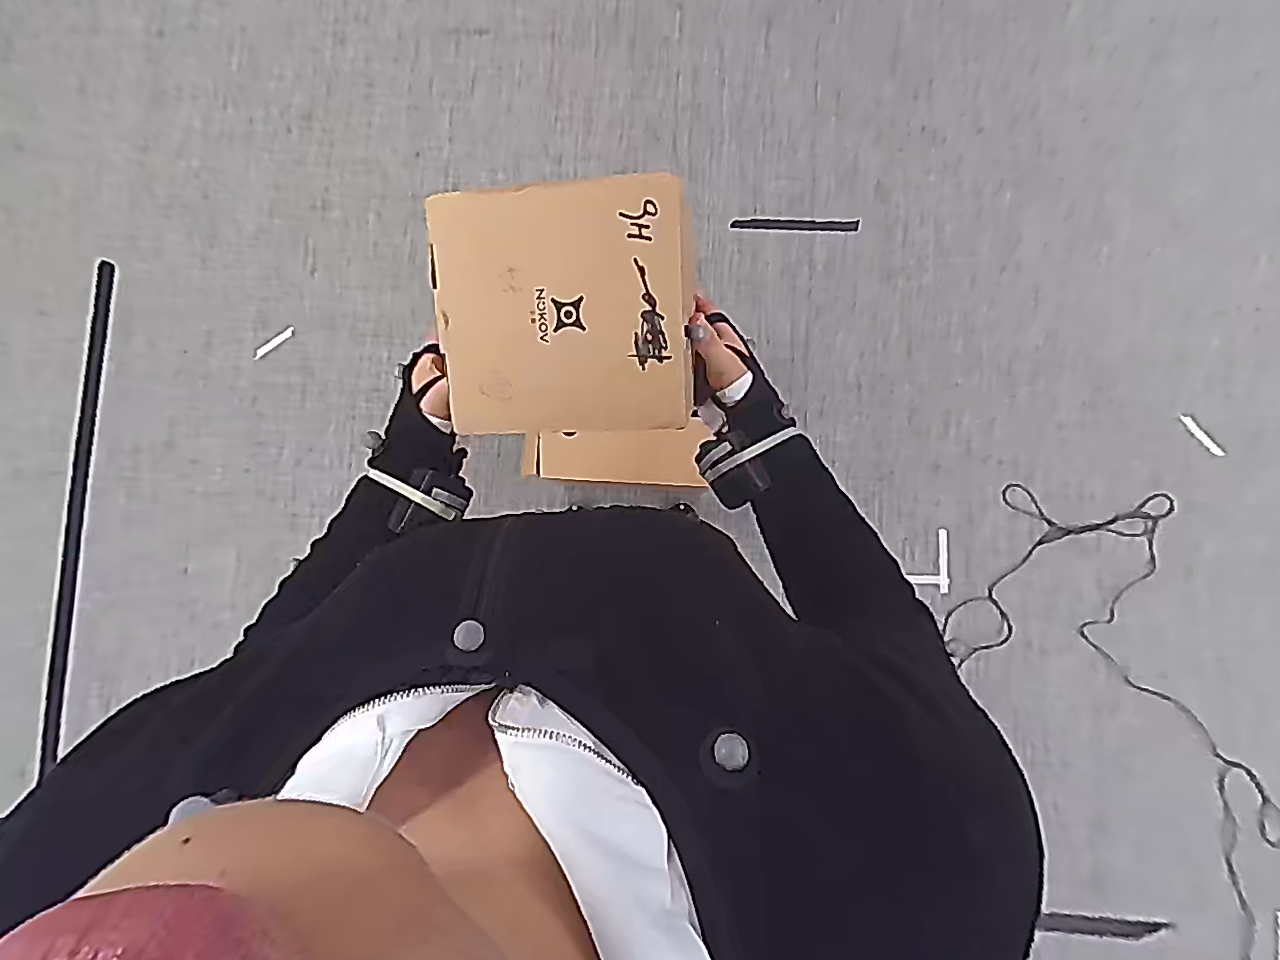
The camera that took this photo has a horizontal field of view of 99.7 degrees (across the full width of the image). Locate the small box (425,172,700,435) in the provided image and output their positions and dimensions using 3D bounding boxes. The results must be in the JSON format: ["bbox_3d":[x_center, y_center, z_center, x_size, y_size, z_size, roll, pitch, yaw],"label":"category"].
[{"bbox_3d":[-0.044,-0.129,0.441,0.179,0.176,0.168,-1,104,9],"label":"small box"}]
